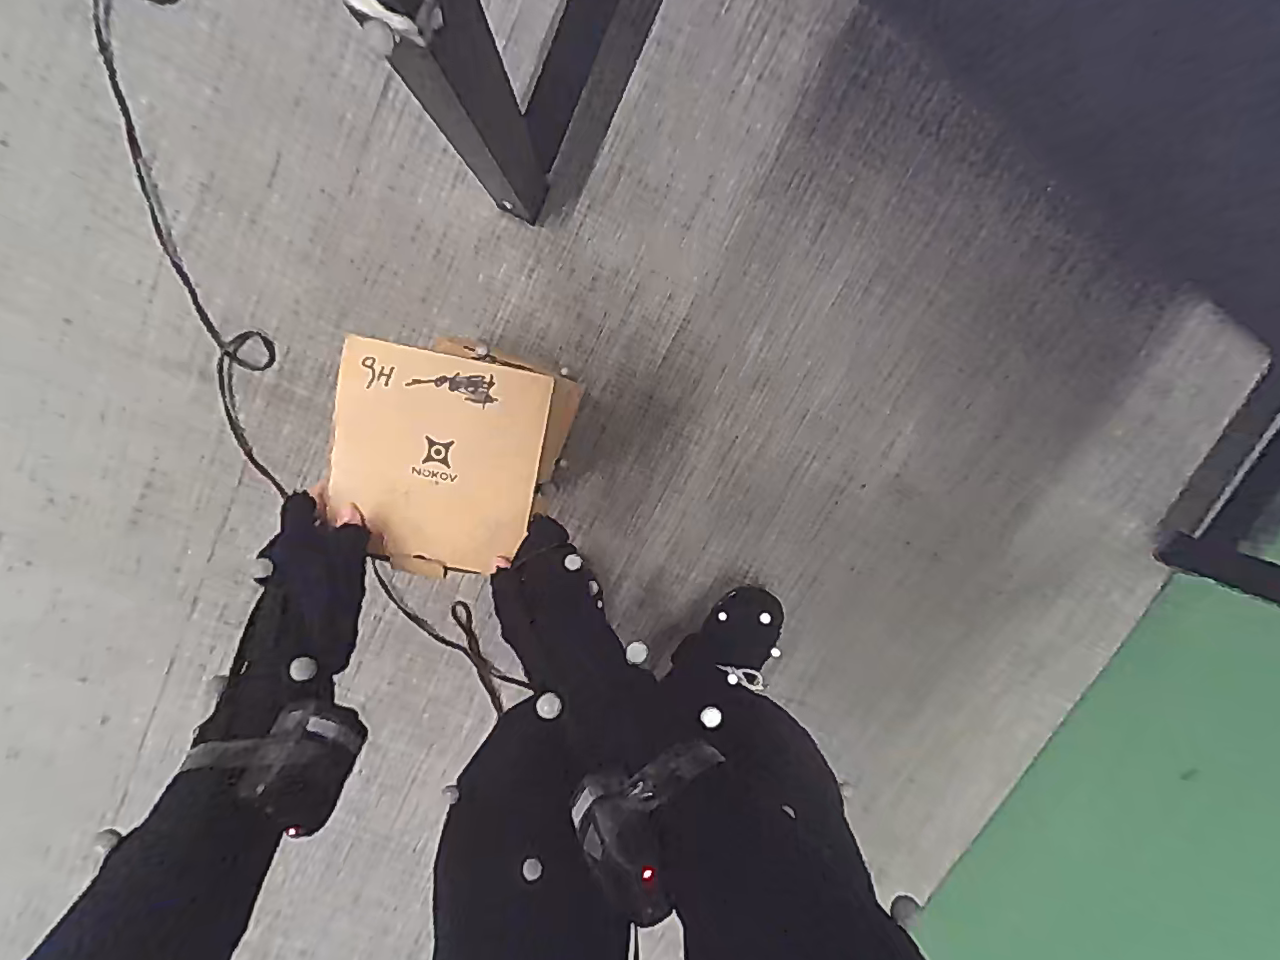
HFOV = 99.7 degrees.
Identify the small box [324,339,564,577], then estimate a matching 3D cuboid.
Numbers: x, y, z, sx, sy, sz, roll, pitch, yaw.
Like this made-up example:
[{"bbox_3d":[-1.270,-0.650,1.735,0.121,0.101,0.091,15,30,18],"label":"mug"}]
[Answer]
[{"bbox_3d":[-0.171,-0.029,0.519,0.168,0.176,0.179,9,100,-2],"label":"small box"}]
